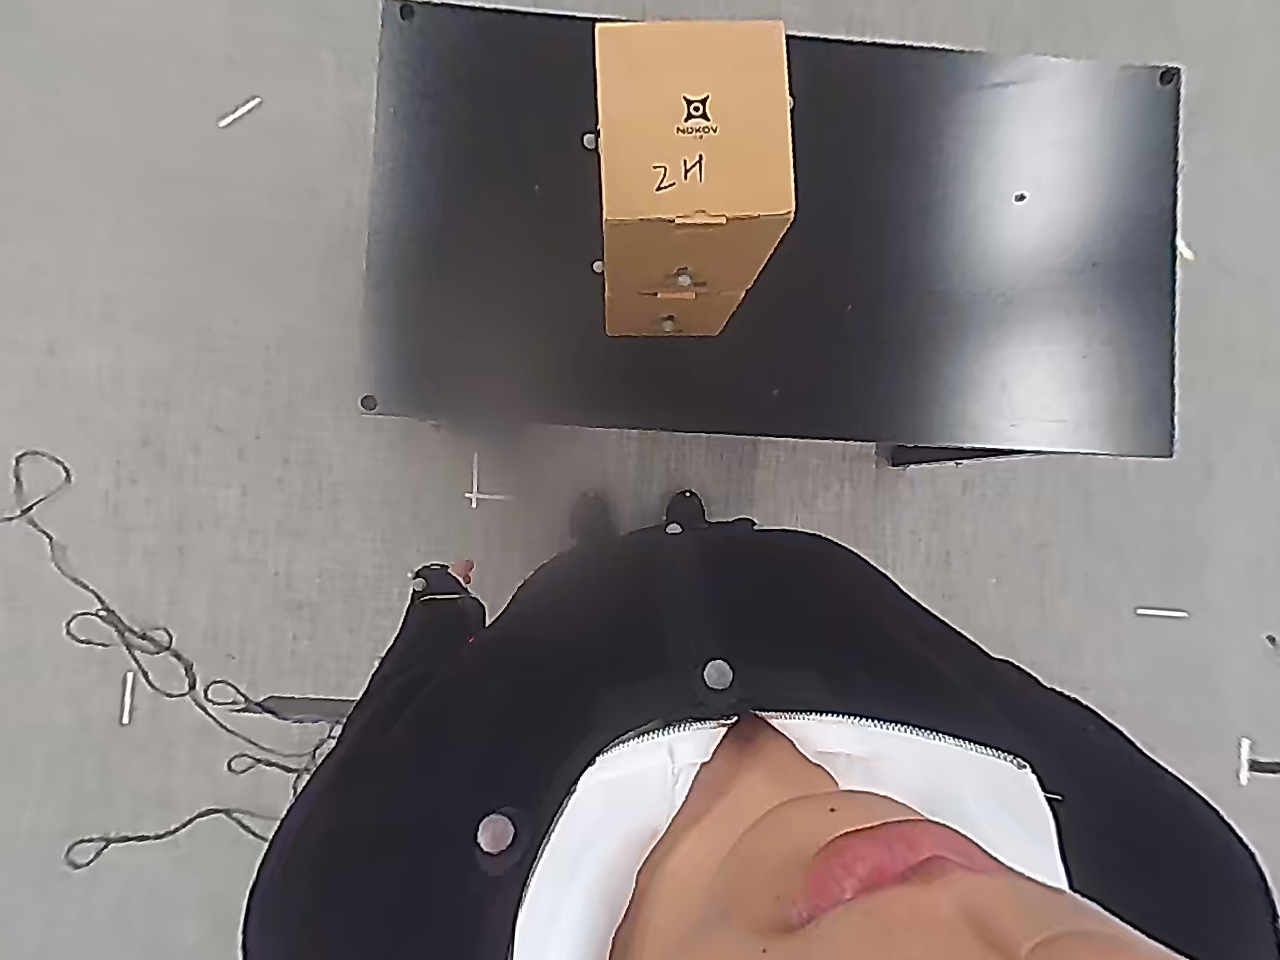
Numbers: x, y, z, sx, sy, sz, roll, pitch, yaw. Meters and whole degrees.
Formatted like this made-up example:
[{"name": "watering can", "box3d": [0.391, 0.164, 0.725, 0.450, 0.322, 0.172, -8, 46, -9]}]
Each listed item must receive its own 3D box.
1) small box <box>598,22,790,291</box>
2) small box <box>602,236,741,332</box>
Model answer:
[{"name": "small box", "box3d": [0.043, -0.310, 0.549, 0.168, 0.176, 0.179, -3, 88, -2]}, {"name": "small box", "box3d": [0.035, -0.301, 0.714, 0.168, 0.176, 0.179, -1, 88, -2]}]
